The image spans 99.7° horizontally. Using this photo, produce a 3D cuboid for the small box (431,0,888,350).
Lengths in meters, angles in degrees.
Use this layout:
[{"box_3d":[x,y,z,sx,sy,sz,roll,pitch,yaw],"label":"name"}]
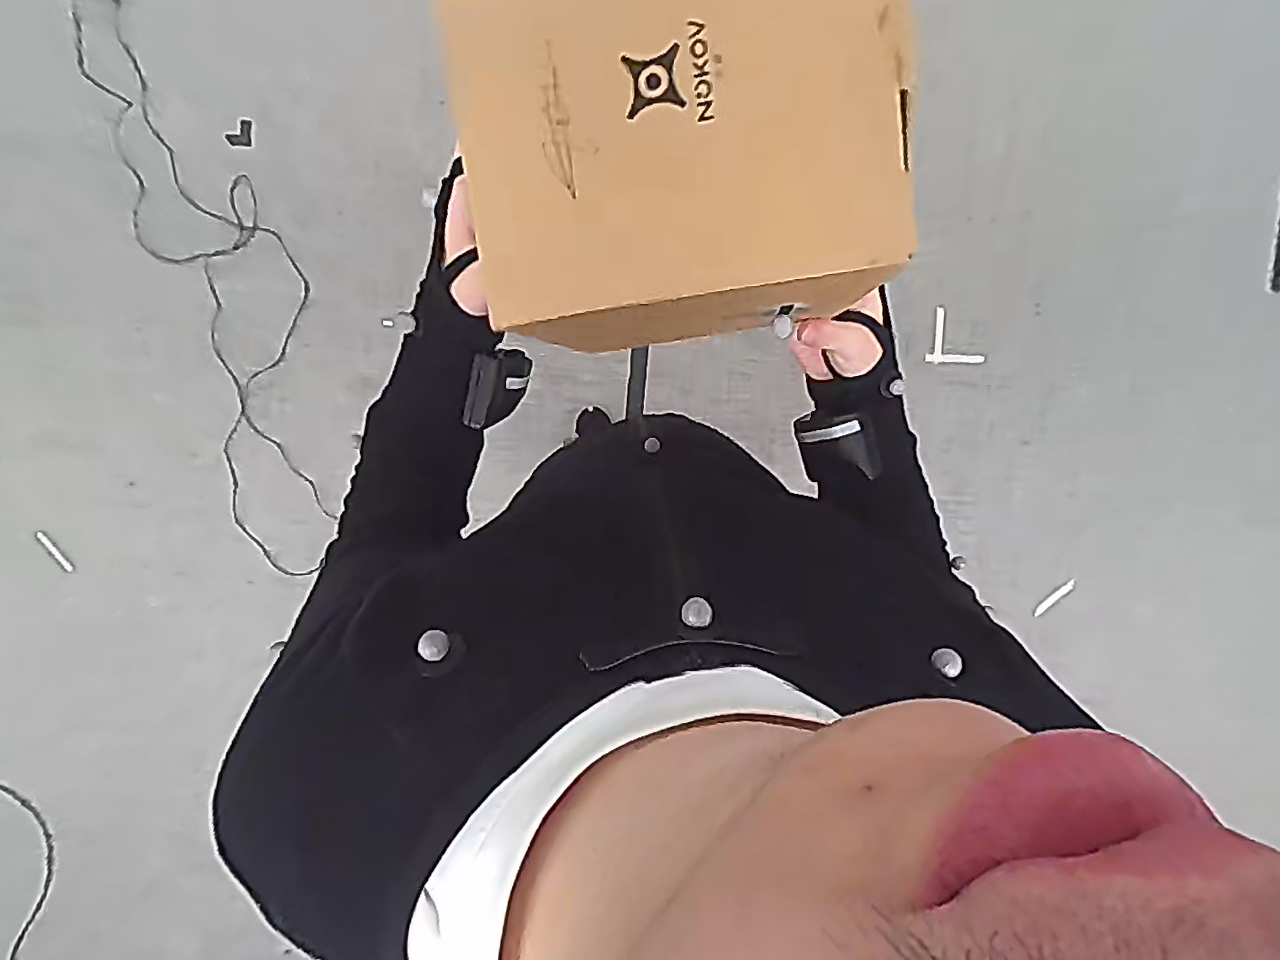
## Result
[{"box_3d":[0.017,-0.173,0.300,0.179,0.176,0.168,-8,97,12],"label":"small box"}]
